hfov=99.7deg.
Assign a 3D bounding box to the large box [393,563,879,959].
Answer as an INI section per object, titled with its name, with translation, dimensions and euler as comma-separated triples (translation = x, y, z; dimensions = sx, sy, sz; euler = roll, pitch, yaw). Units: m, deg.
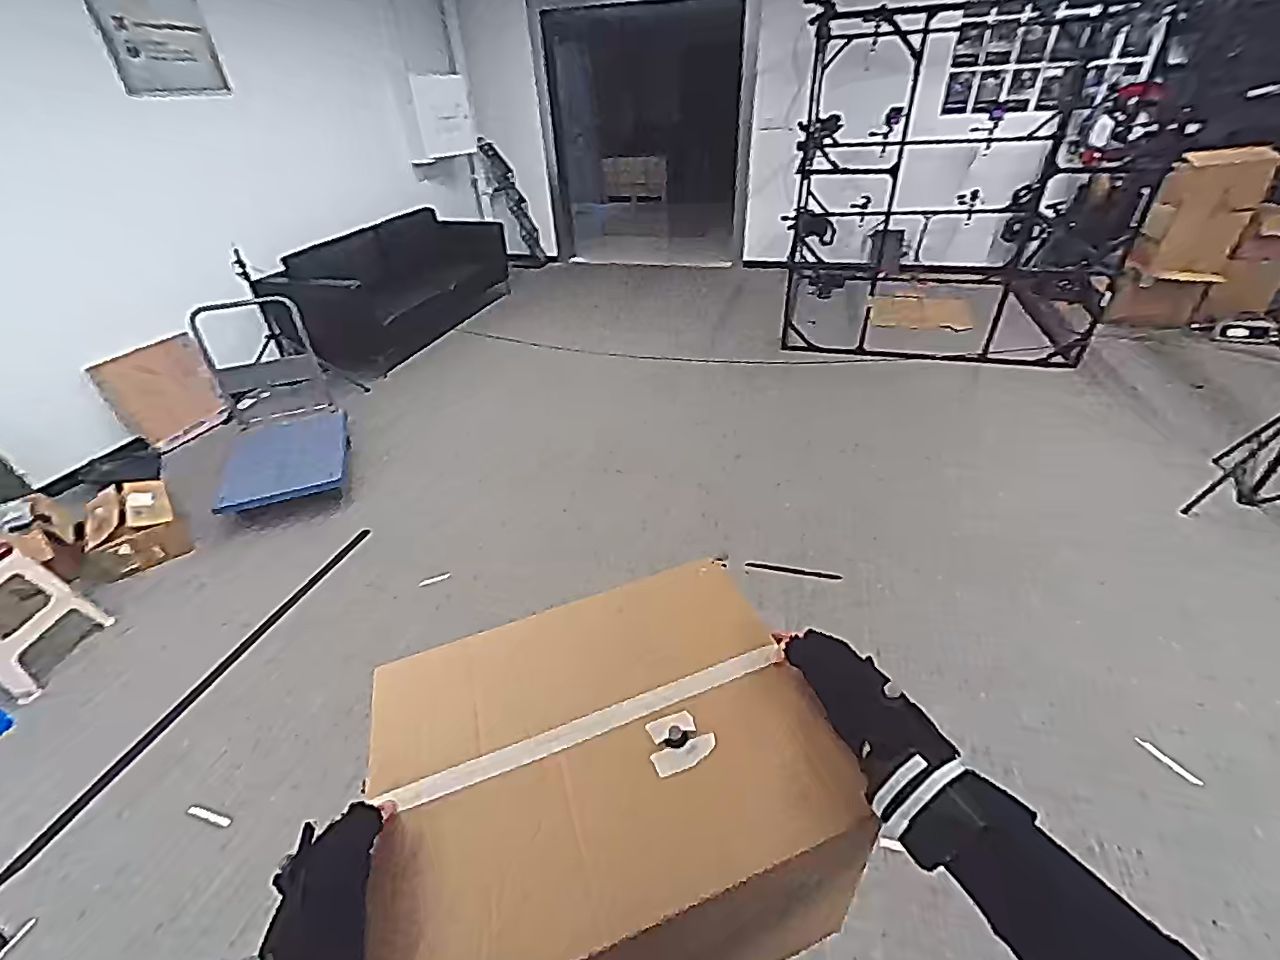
[large box]
translation = -0.019, 0.358, 0.608
dimensions = 0.408, 0.320, 0.320
euler = -16, 37, -12
